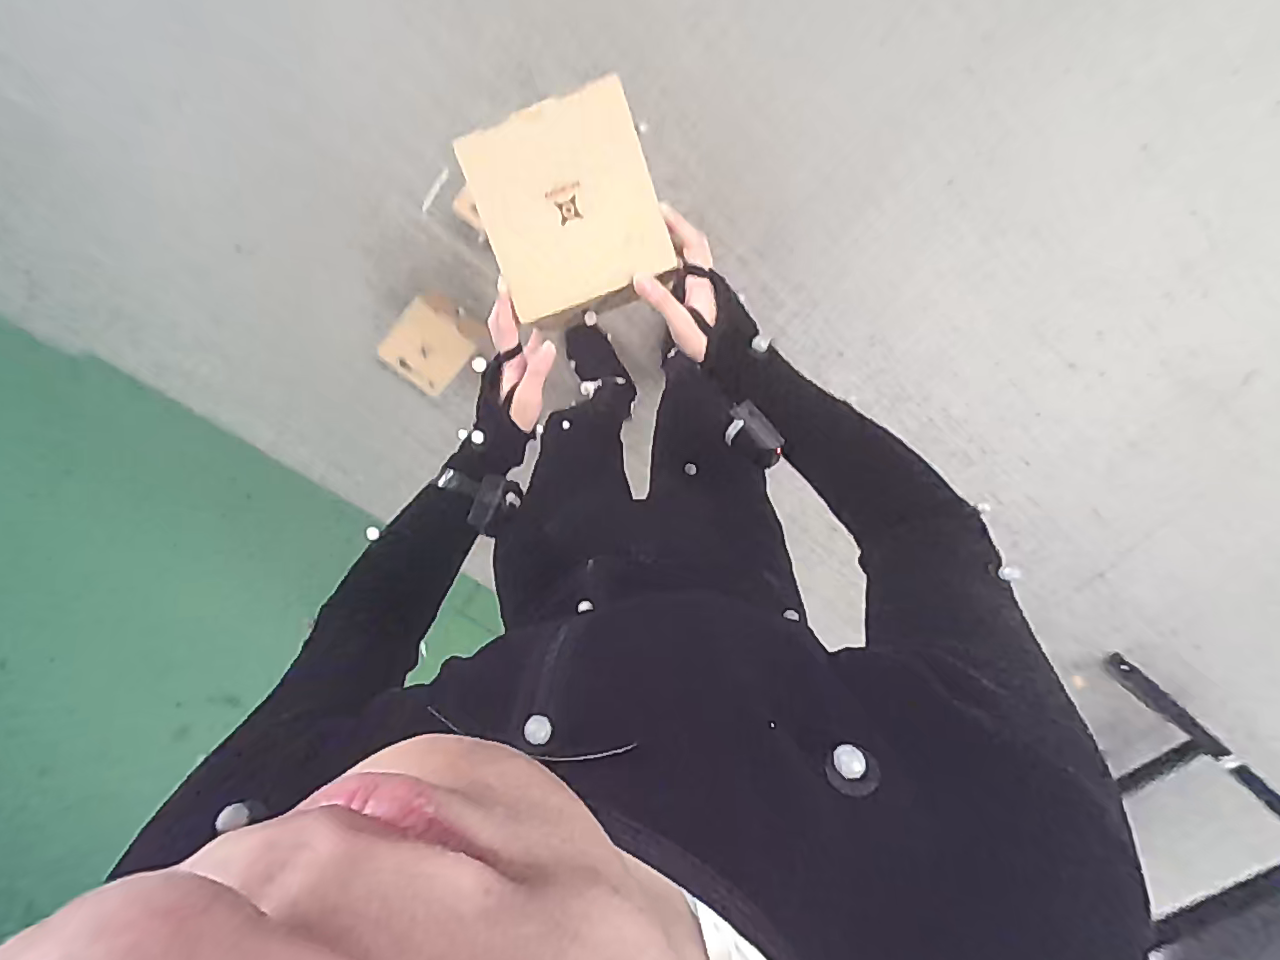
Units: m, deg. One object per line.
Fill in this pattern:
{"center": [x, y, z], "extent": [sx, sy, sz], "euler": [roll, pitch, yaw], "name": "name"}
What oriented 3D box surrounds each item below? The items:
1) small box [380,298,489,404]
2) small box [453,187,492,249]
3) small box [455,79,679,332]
{"center": [-0.490, -0.321, 1.320], "extent": [0.168, 0.176, 0.179], "euler": [39, 108, -19], "name": "small box"}
{"center": [-0.276, -0.598, 1.189], "extent": [0.168, 0.176, 0.179], "euler": [38, 108, -19], "name": "small box"}
{"center": [-0.062, -0.267, 0.578], "extent": [0.168, 0.176, 0.179], "euler": [-19, 100, 5], "name": "small box"}
